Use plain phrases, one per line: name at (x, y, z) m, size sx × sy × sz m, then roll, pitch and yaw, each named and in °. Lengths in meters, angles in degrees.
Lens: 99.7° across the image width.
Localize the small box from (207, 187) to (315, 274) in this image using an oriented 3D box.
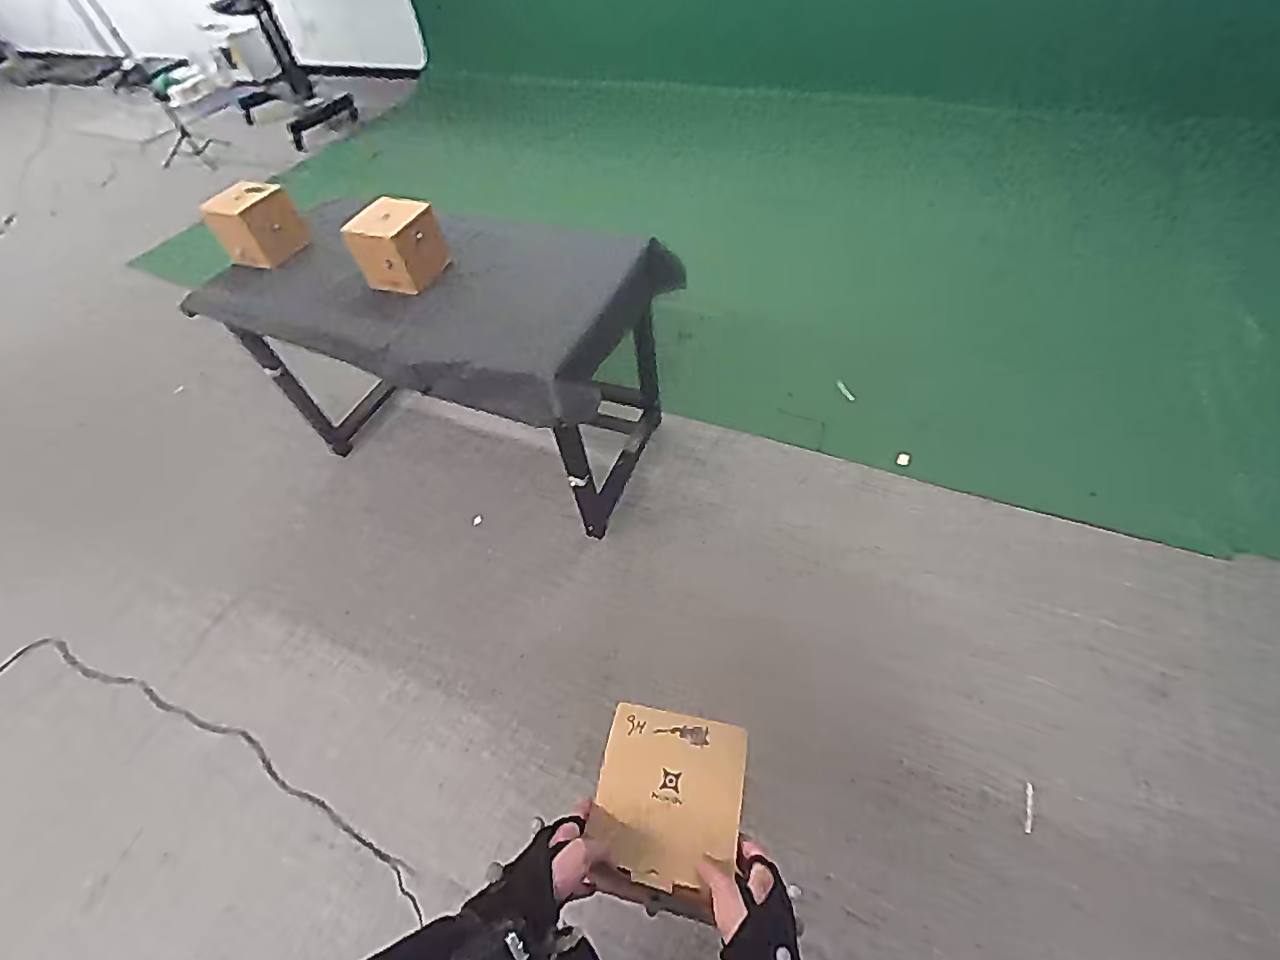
small box at (-1.114, -0.744, 1.614) m, size 0.168 × 0.176 × 0.179 m, roll 15°, pitch 55°, yaw 18°

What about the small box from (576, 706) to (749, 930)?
small box at (0.037, 0.405, 0.649) m, size 0.168 × 0.176 × 0.179 m, roll 7°, pitch 45°, yaw 12°

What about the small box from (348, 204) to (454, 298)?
small box at (-0.635, -0.618, 1.464) m, size 0.168 × 0.176 × 0.179 m, roll 15°, pitch 54°, yaw 16°
